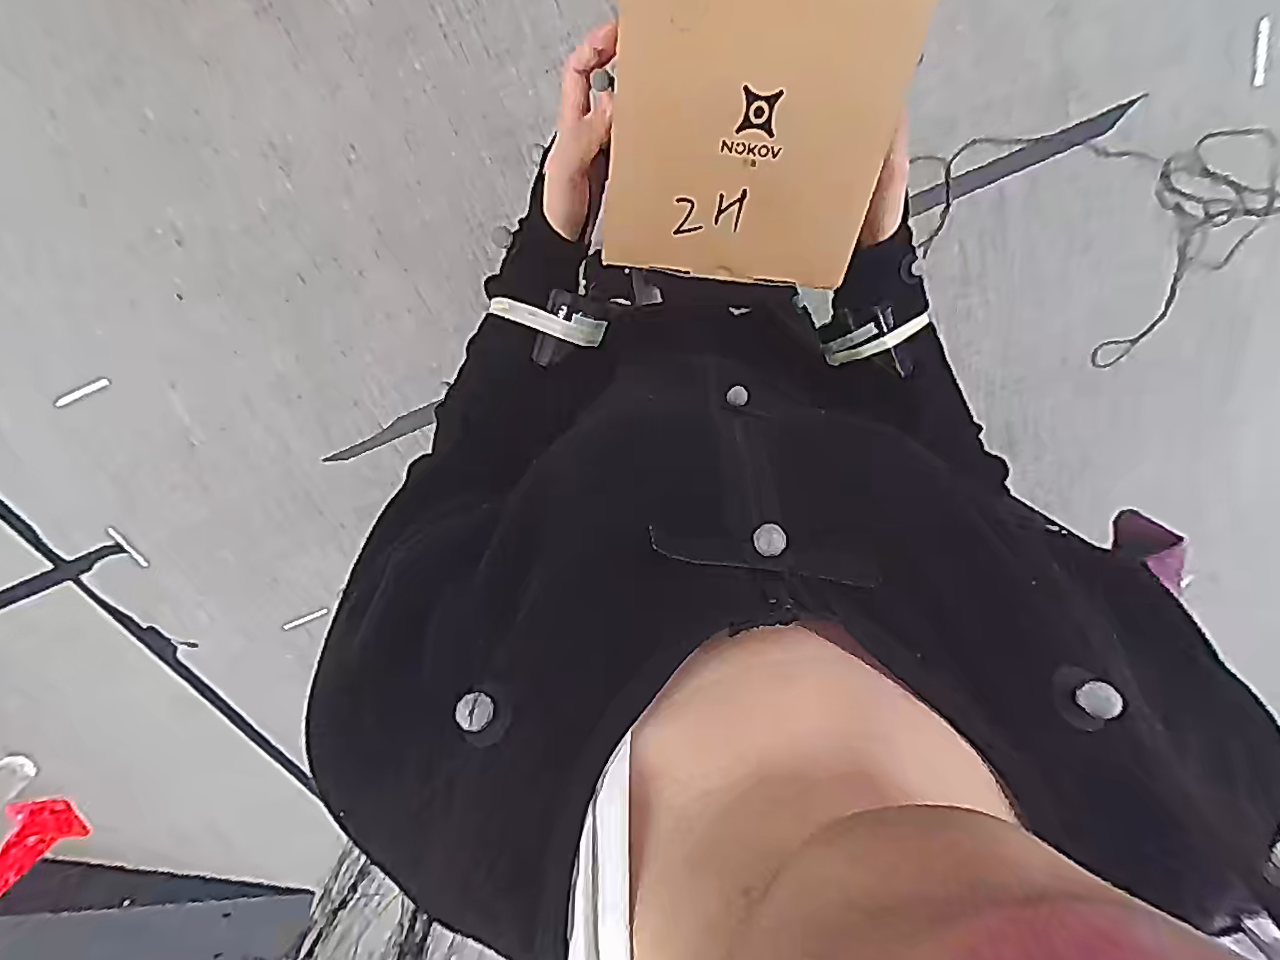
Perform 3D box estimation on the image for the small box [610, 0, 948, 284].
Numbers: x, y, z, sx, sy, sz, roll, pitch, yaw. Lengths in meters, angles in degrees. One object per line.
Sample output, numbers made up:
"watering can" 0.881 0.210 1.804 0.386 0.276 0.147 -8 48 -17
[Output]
"small box" 0.070 -0.260 0.376 0.168 0.176 0.179 6 128 -5
